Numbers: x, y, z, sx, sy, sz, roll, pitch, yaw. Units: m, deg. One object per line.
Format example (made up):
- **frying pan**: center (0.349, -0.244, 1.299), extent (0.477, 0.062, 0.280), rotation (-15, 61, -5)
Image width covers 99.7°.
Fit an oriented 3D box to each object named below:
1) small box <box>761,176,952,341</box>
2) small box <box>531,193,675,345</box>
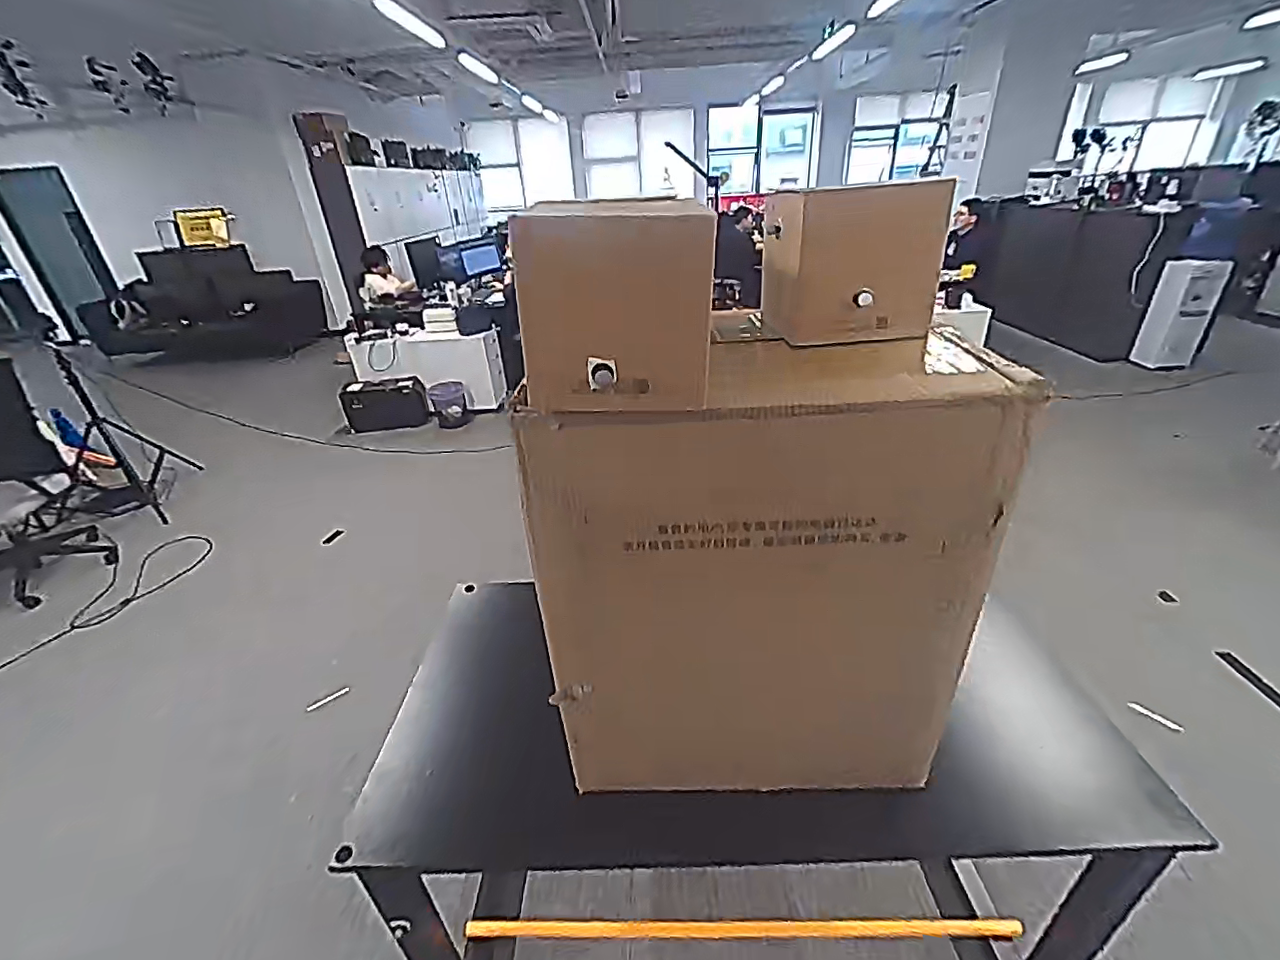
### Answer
- **small box**: center (0.251, -0.278, 0.679), extent (0.168, 0.176, 0.179), rotation (-5, 28, 0)
- **small box**: center (-0.041, -0.281, 0.717), extent (0.168, 0.176, 0.179), rotation (-3, 27, 0)
